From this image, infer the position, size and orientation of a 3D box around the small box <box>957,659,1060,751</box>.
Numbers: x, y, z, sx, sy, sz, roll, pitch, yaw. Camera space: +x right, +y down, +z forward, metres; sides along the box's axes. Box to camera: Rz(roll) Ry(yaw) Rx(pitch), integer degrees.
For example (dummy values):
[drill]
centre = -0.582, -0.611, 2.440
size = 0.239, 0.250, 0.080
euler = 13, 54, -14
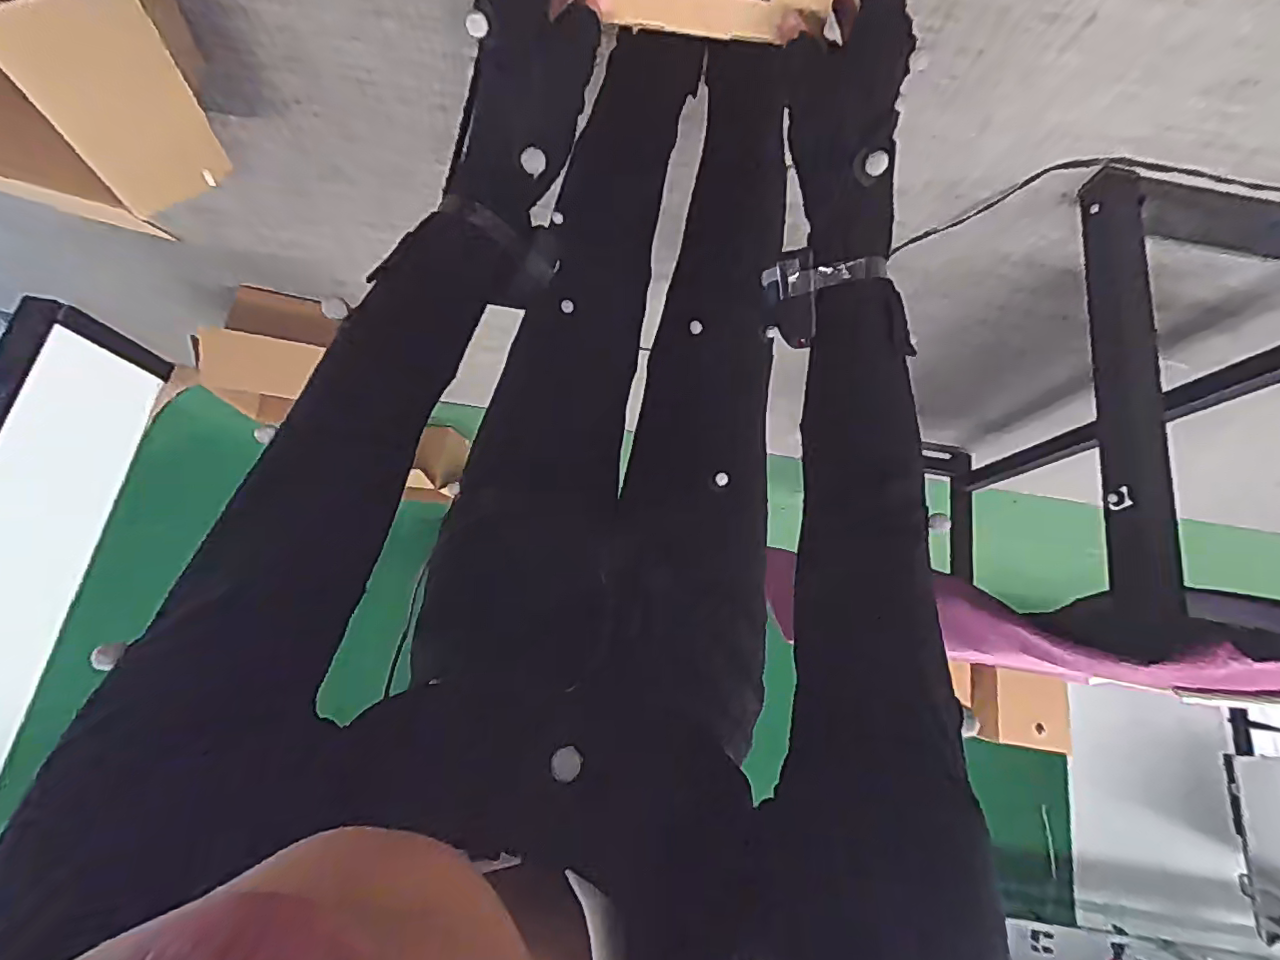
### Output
[small box]
centre = 0.870, 0.537, 1.310
size = 0.179, 0.176, 0.168
euler = 10, 164, -3
